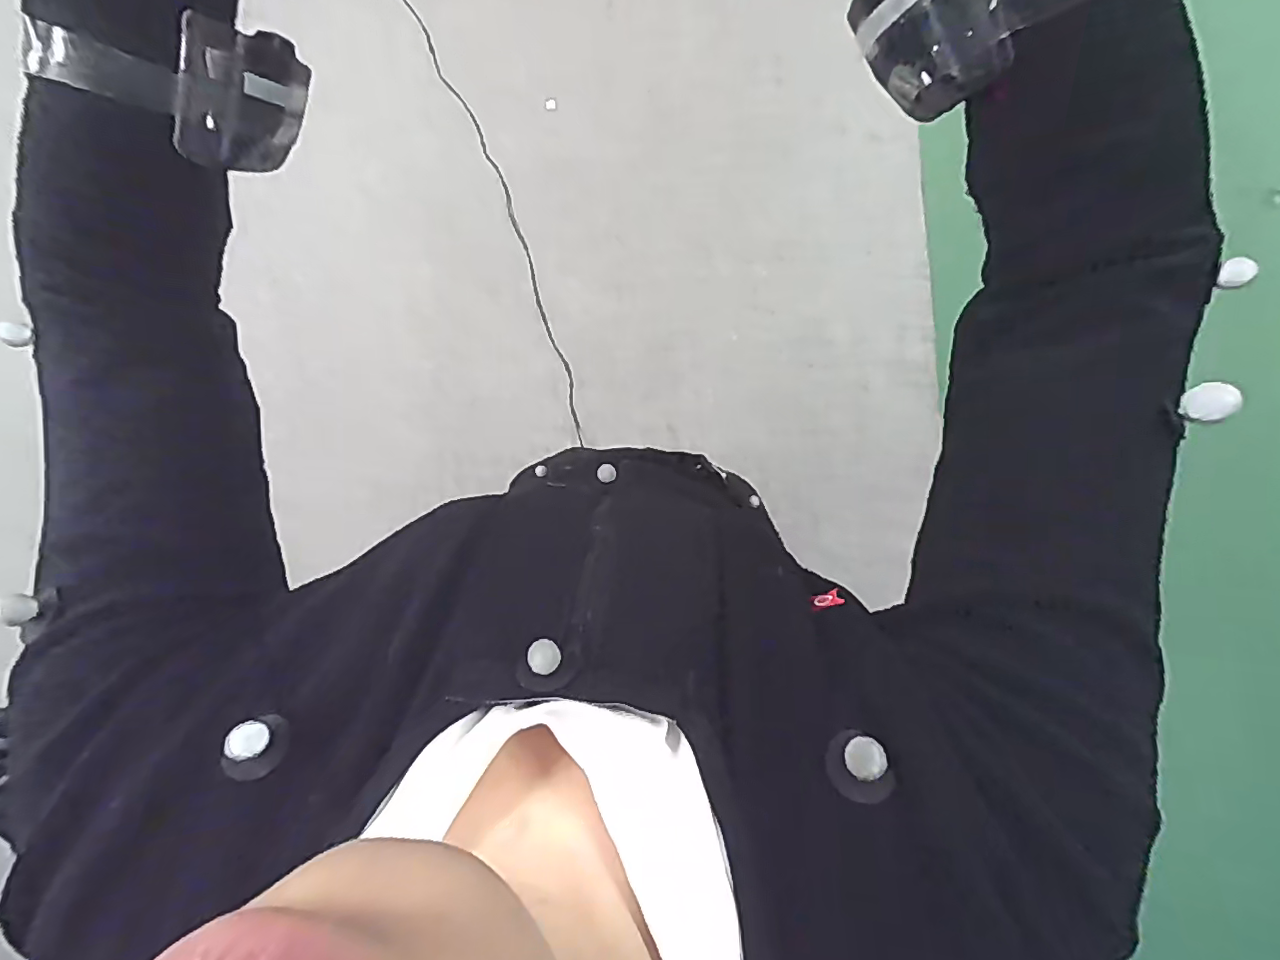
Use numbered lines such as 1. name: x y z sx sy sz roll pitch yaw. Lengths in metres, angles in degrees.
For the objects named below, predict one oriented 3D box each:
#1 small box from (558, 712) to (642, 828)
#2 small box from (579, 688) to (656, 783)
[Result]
1. small box: -0.085 0.641 1.211 0.168 0.176 0.179 -1 87 4
2. small box: -0.054 0.638 1.369 0.179 0.176 0.168 0 88 5
